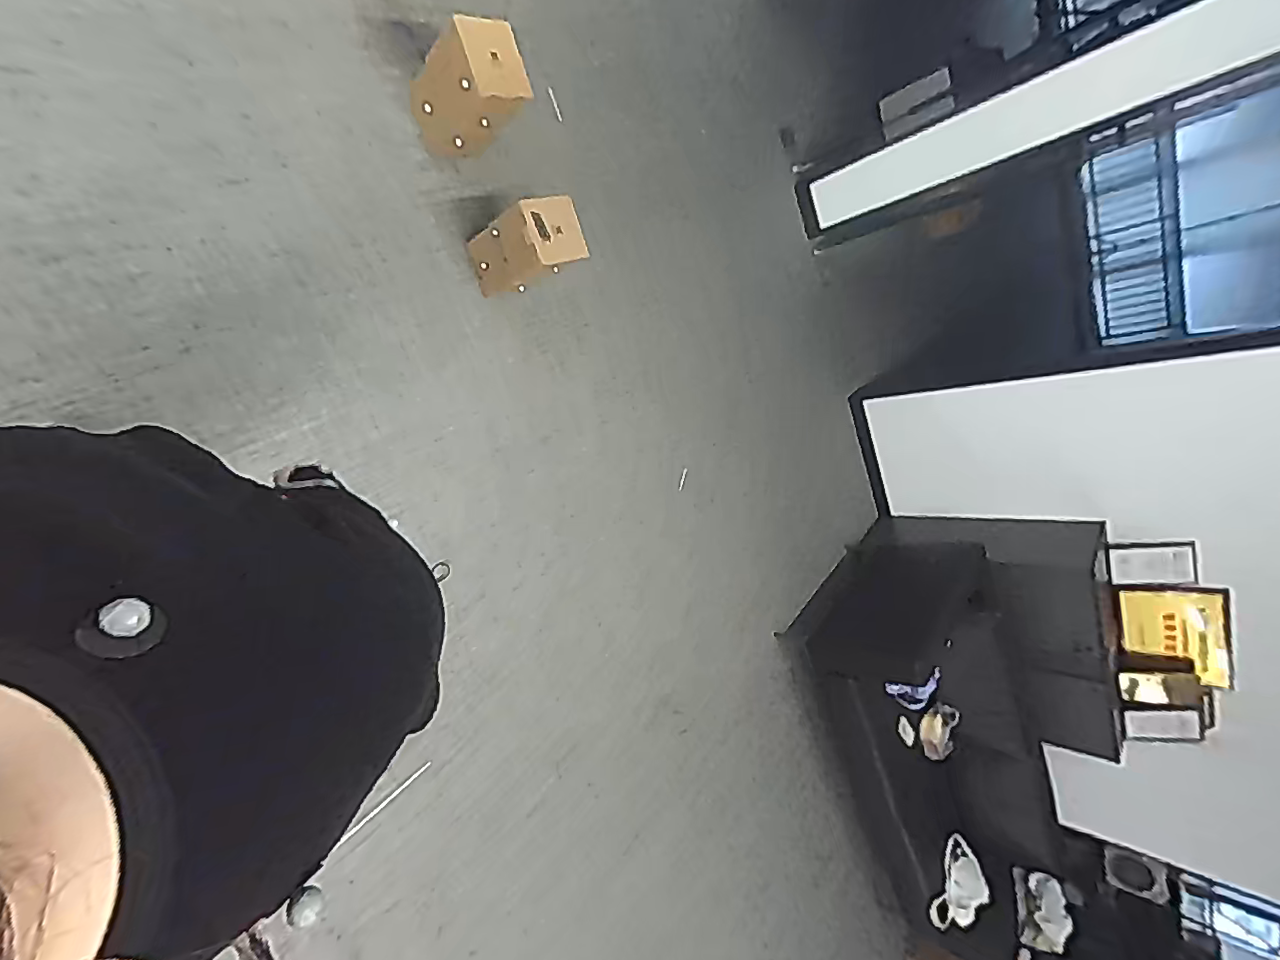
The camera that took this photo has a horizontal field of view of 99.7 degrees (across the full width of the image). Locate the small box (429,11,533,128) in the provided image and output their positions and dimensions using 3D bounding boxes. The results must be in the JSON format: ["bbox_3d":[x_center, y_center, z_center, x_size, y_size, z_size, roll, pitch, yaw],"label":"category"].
[{"bbox_3d":[-0.409,-1.037,1.381,0.168,0.176,0.179,-31,110,-38],"label":"small box"}]

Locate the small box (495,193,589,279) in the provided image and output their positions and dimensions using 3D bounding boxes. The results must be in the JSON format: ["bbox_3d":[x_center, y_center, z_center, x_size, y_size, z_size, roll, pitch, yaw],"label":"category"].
[{"bbox_3d":[-0.277,-0.670,1.493,0.179,0.176,0.168,-31,110,-39],"label":"small box"}]

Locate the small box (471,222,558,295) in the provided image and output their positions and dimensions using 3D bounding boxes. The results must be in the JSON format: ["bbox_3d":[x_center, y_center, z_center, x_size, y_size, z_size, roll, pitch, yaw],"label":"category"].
[{"bbox_3d":[-0.384,-0.669,1.620,0.179,0.176,0.168,-33,111,-37],"label":"small box"}]
